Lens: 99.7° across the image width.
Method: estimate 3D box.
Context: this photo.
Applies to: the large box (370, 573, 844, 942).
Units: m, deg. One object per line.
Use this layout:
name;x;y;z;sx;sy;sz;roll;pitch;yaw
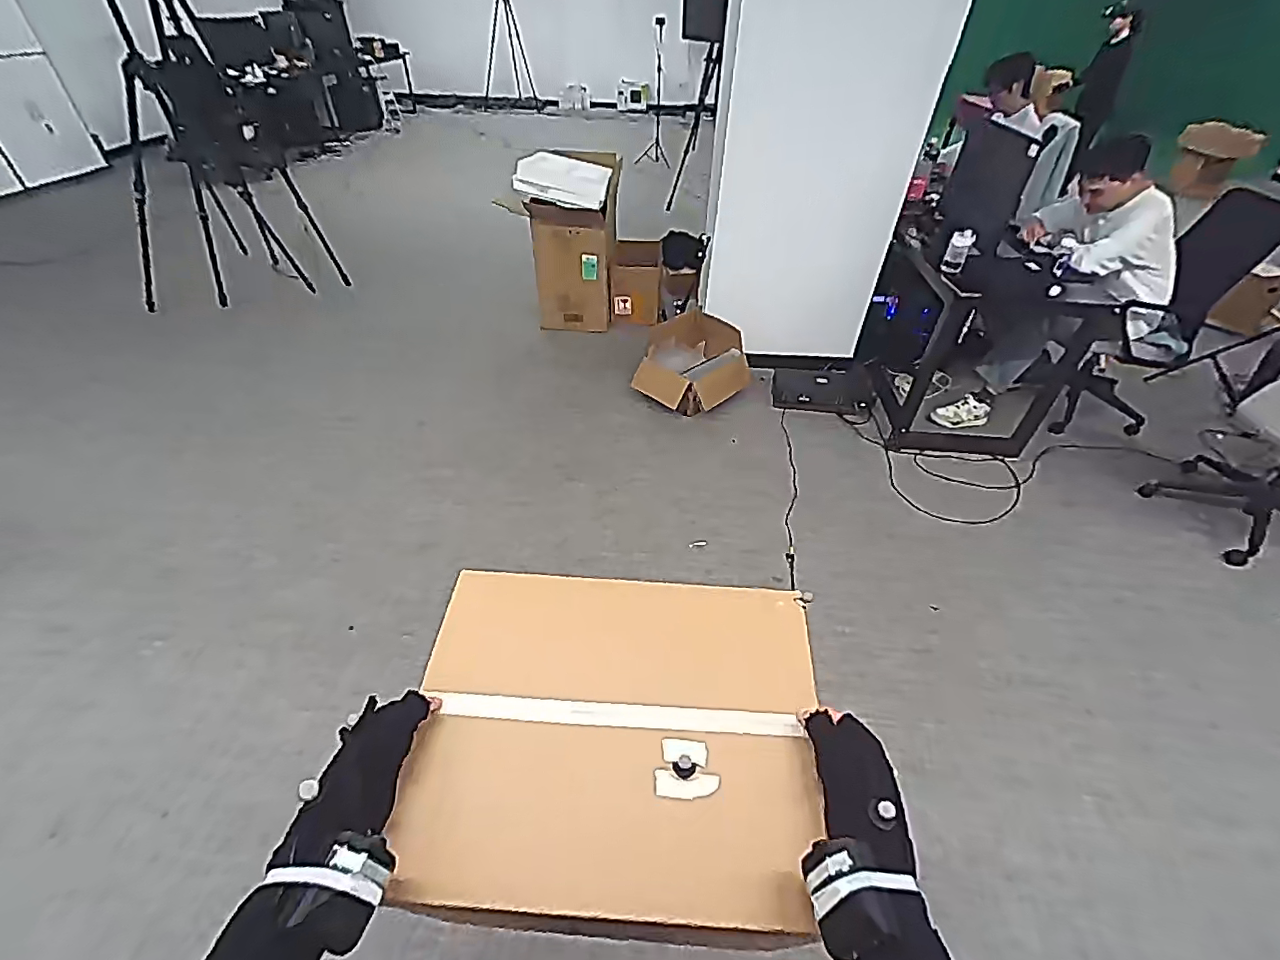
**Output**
large box;-0.026;0.336;0.653;0.408;0.320;0.320;4;48;1
